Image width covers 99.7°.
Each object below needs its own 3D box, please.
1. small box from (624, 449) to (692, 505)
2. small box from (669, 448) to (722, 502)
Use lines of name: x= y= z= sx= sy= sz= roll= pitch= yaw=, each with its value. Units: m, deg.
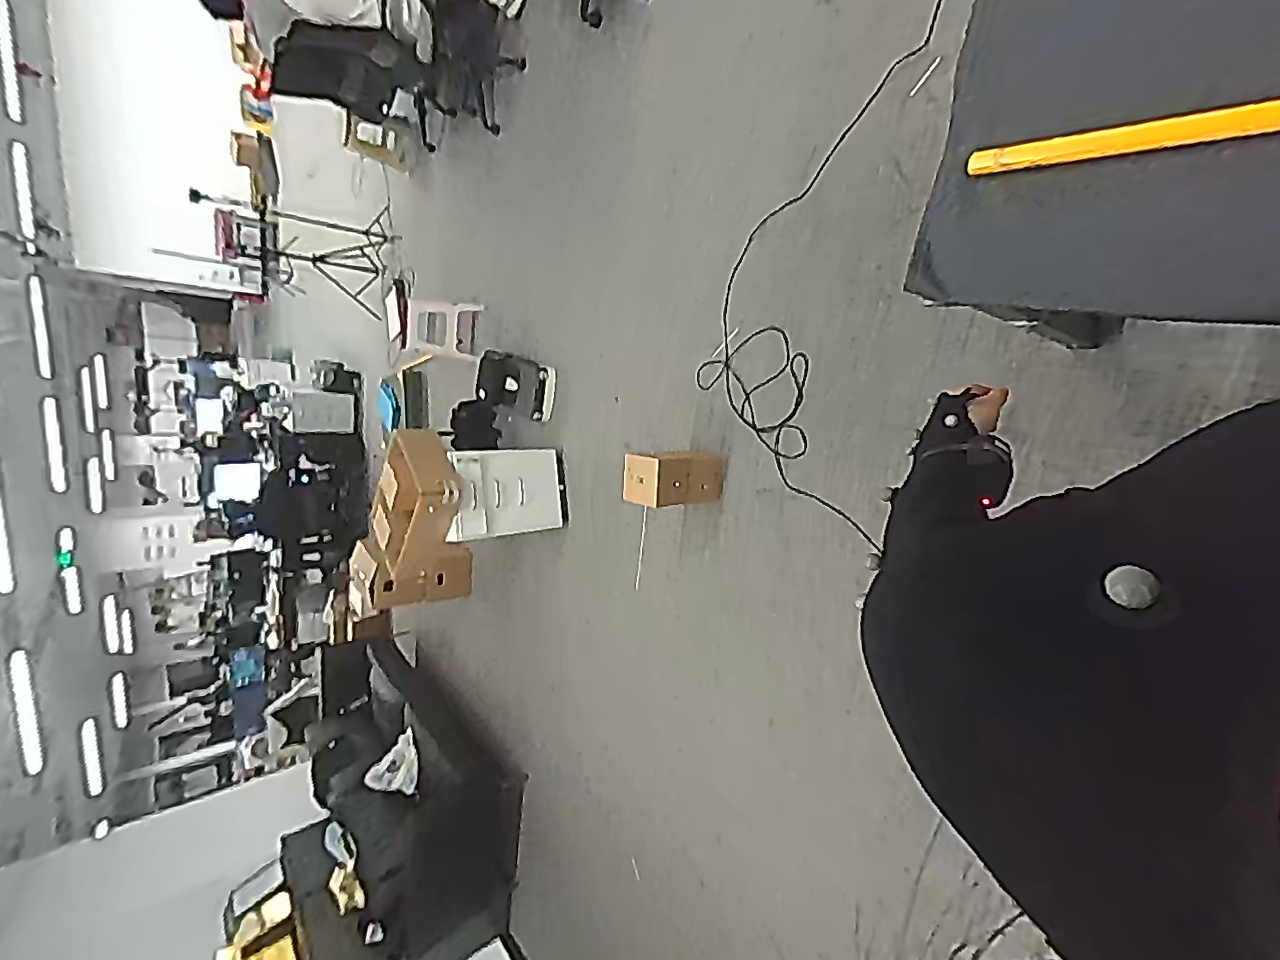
small box: x=0.064 y=-0.015 z=1.882 sx=0.179 sy=0.176 sz=0.168 roll=13 pitch=104 yaw=48
small box: x=0.183 y=-0.025 z=1.997 sx=0.179 sy=0.176 sz=0.168 roll=16 pitch=106 yaw=47
